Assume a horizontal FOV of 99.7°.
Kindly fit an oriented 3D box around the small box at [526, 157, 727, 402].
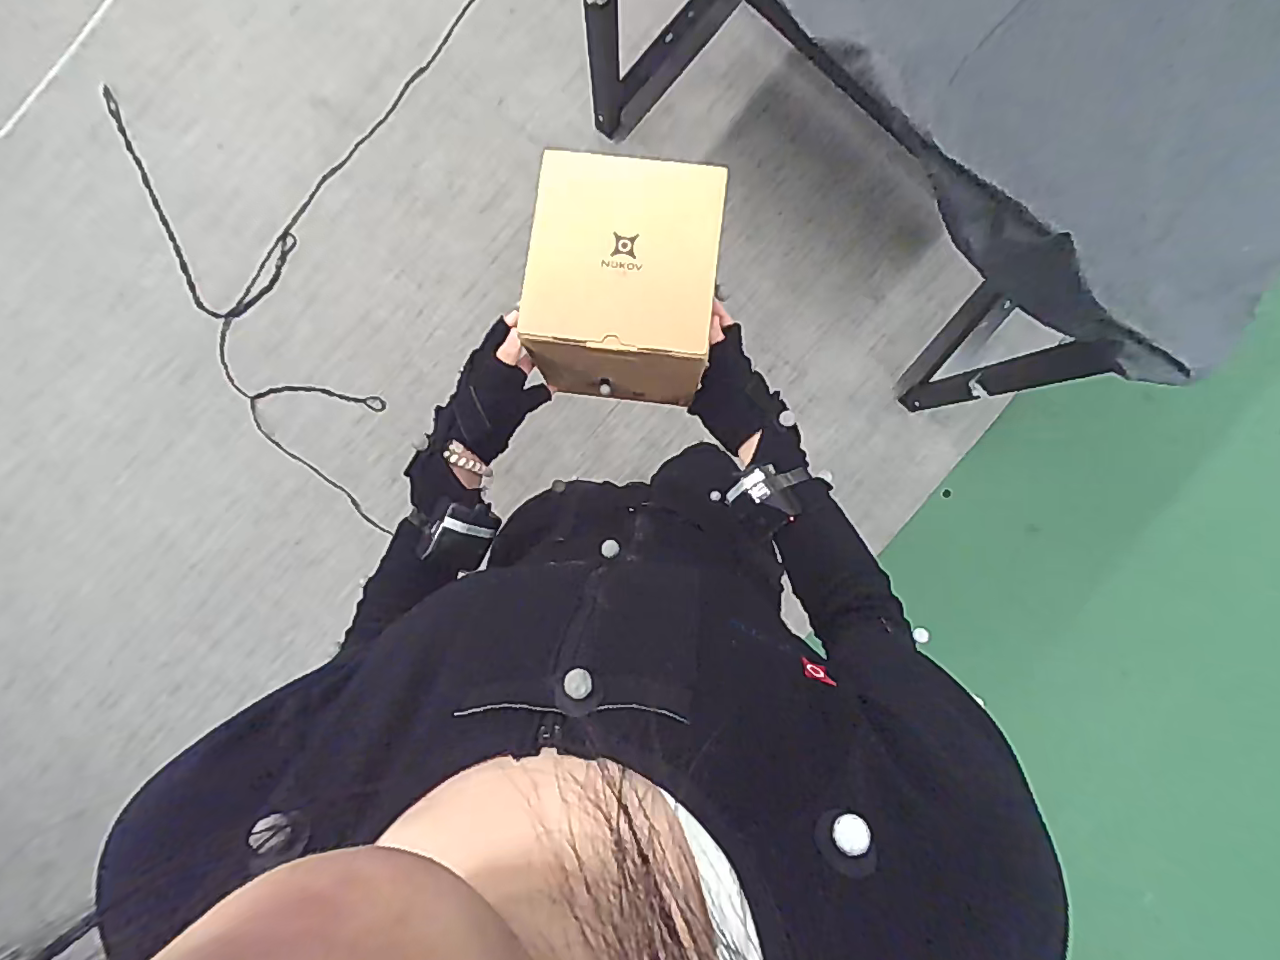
[{"bbox_3d":[-0.011,-0.193,0.564,0.168,0.176,0.179,7,85,1],"label":"small box"}]
